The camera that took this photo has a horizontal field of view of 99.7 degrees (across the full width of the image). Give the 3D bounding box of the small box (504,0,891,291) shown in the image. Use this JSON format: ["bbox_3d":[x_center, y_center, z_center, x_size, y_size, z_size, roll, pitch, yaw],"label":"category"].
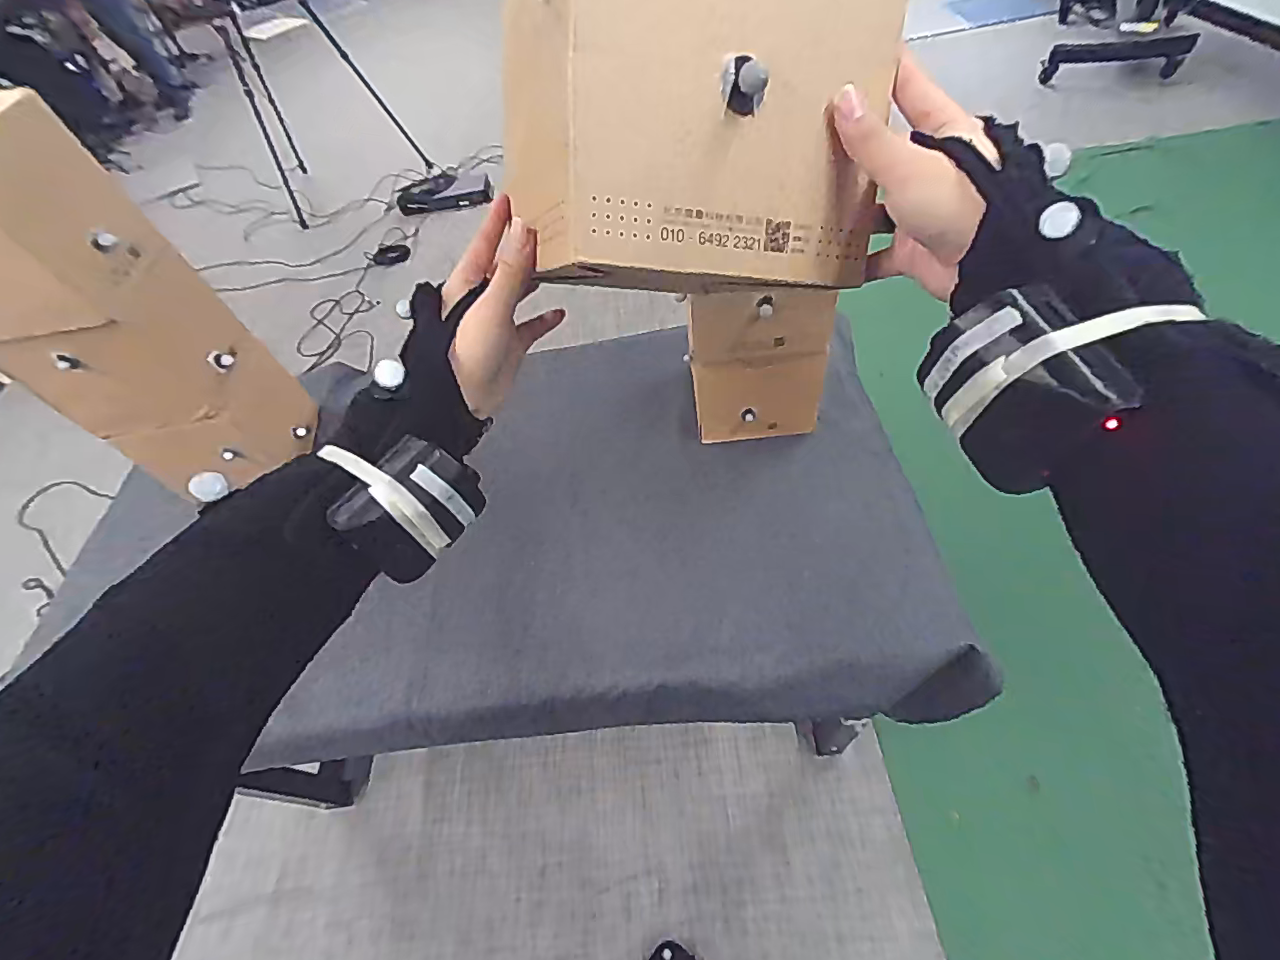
[{"bbox_3d":[0.019,-0.202,0.314,0.168,0.176,0.179,-4,19,-23],"label":"small box"}]

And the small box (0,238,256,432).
[{"bbox_3d":[-0.659,-0.181,0.705,0.179,0.176,0.168,-10,56,0],"label":"small box"}]

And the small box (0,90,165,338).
[{"bbox_3d":[-0.673,-0.267,0.565,0.179,0.176,0.168,-8,56,1],"label":"small box"}]

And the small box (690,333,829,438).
[{"bbox_3d":[0.159,-0.183,0.784,0.168,0.176,0.179,-6,55,5],"label":"small box"}]

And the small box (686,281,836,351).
[{"bbox_3d":[0.136,-0.271,0.647,0.168,0.176,0.179,-5,56,5],"label":"small box"}]
